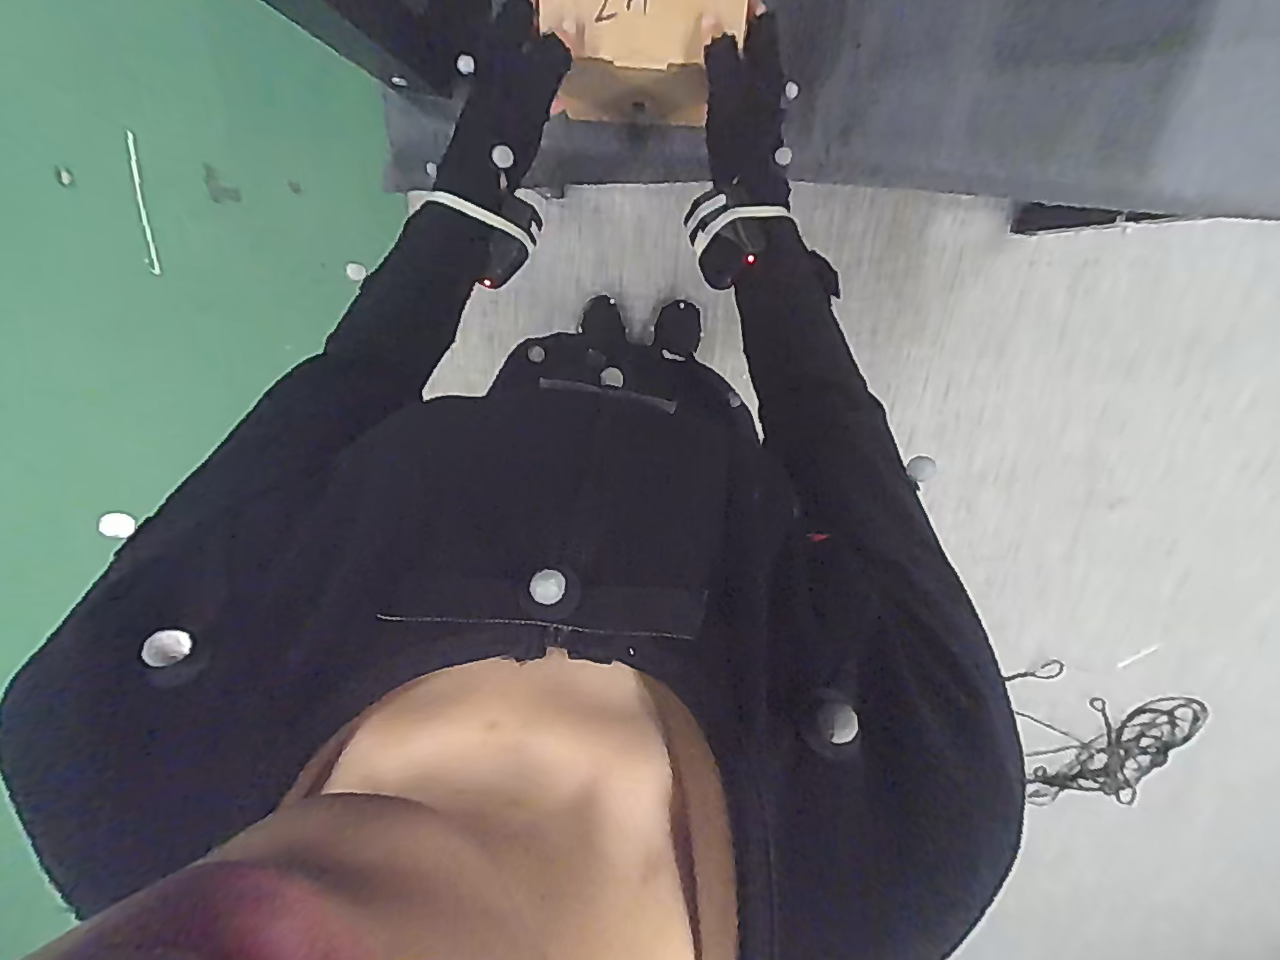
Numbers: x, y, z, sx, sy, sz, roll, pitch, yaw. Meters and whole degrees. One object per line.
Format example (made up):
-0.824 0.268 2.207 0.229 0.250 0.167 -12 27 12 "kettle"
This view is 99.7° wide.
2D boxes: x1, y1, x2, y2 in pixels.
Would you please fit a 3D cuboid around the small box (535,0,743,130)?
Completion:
0.003 -0.444 0.484 0.168 0.176 0.179 4 108 0 "small box"
